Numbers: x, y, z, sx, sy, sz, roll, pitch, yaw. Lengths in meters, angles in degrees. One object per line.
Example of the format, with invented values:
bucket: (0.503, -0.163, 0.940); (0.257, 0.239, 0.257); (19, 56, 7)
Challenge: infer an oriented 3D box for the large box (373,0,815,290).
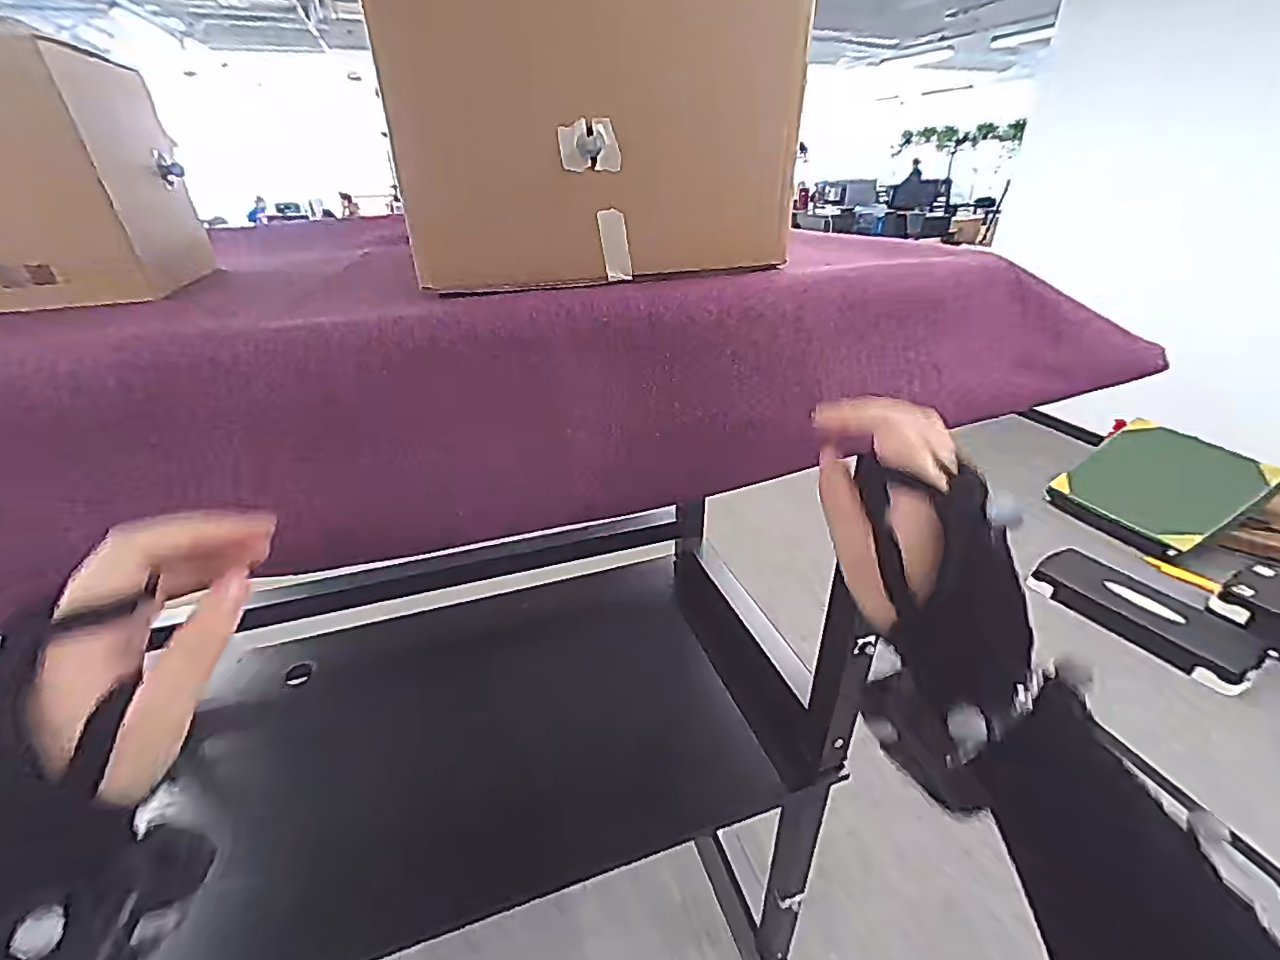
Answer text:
large box: (-0.075, -0.385, 0.527); (0.320, 0.320, 0.408); (-9, 30, -15)

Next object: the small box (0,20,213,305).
small box: (-0.479, -0.239, 0.425); (0.168, 0.176, 0.179); (-12, 32, -16)
